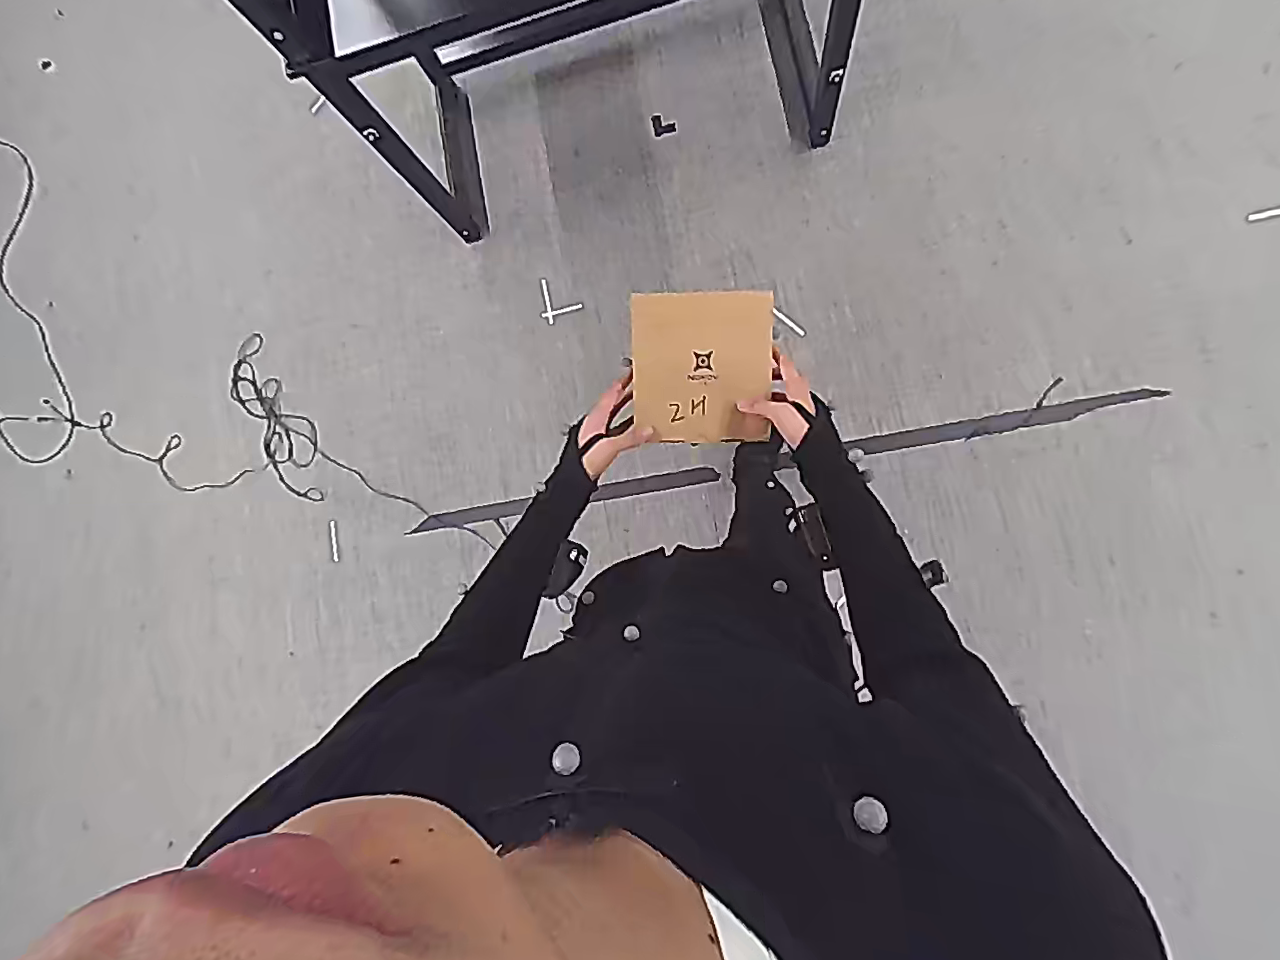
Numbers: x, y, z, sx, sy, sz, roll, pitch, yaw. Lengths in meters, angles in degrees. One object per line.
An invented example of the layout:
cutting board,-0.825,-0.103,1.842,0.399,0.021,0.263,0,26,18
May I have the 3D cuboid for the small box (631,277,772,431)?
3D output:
small box,0.071,-0.157,0.707,0.168,0.176,0.179,-1,100,1
